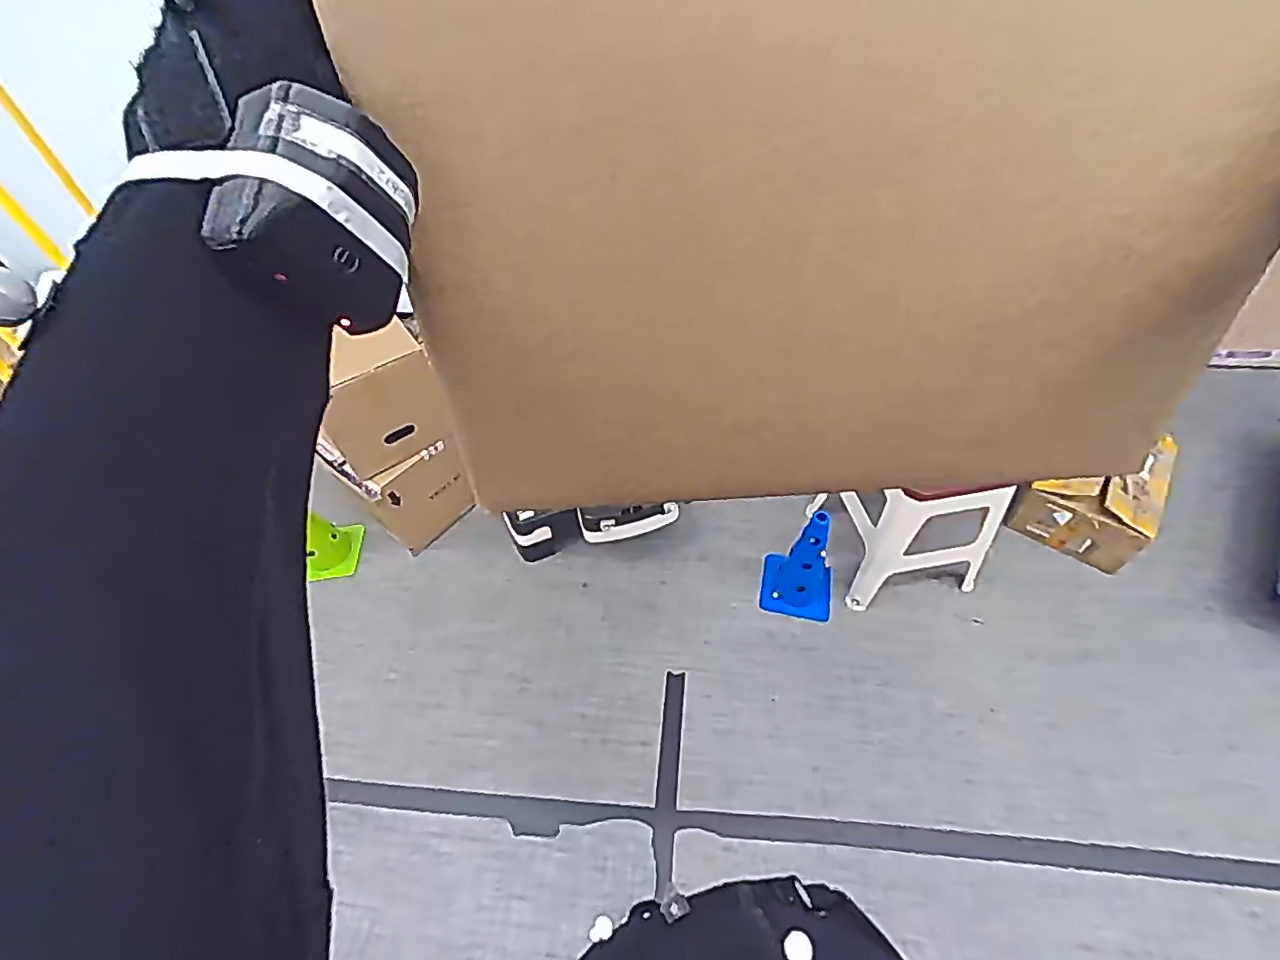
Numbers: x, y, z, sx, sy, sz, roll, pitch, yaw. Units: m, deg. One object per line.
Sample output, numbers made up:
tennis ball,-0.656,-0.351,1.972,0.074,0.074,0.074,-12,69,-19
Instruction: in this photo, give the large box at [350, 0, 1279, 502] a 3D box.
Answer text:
large box,0.085,-0.205,0.371,0.408,0.320,0.320,-3,37,0
